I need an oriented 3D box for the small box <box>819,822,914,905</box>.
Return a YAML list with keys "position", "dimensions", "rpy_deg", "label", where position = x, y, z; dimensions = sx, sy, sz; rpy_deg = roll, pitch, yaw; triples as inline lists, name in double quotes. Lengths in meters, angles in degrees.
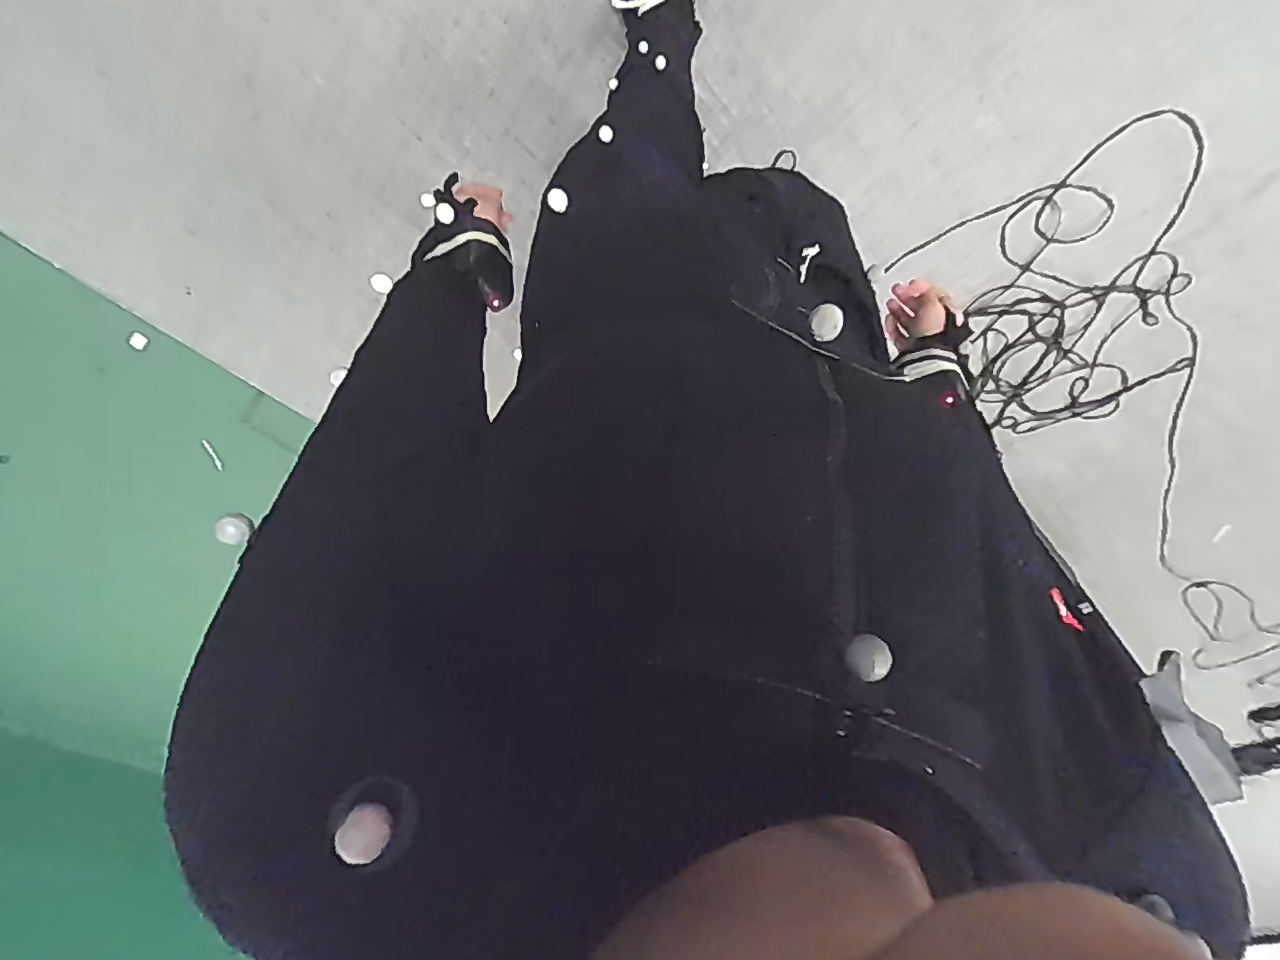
- position: [0.659, 1.131, 1.596]
  dimensions: [0.179, 0.176, 0.168]
  rpy_deg: [25, 130, -22]
  label: "small box"
